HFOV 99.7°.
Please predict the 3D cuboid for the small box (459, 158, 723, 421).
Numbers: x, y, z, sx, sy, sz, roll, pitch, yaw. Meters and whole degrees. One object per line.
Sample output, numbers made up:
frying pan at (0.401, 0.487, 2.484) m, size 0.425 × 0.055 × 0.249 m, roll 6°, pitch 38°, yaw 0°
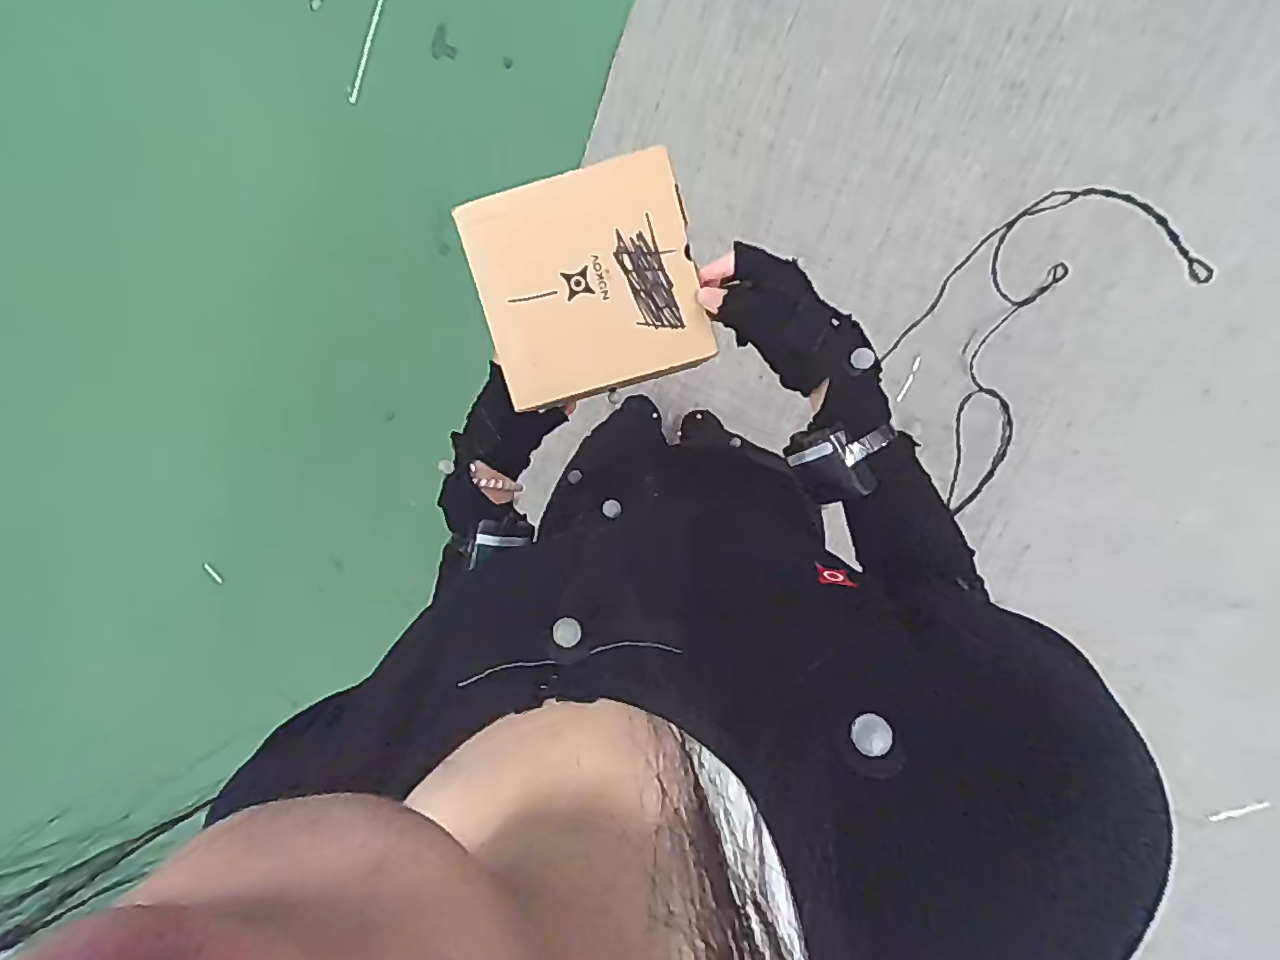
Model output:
small box at (-0.038, -0.159, 0.503) m, size 0.179 × 0.176 × 0.168 m, roll -16°, pitch 98°, yaw 2°
